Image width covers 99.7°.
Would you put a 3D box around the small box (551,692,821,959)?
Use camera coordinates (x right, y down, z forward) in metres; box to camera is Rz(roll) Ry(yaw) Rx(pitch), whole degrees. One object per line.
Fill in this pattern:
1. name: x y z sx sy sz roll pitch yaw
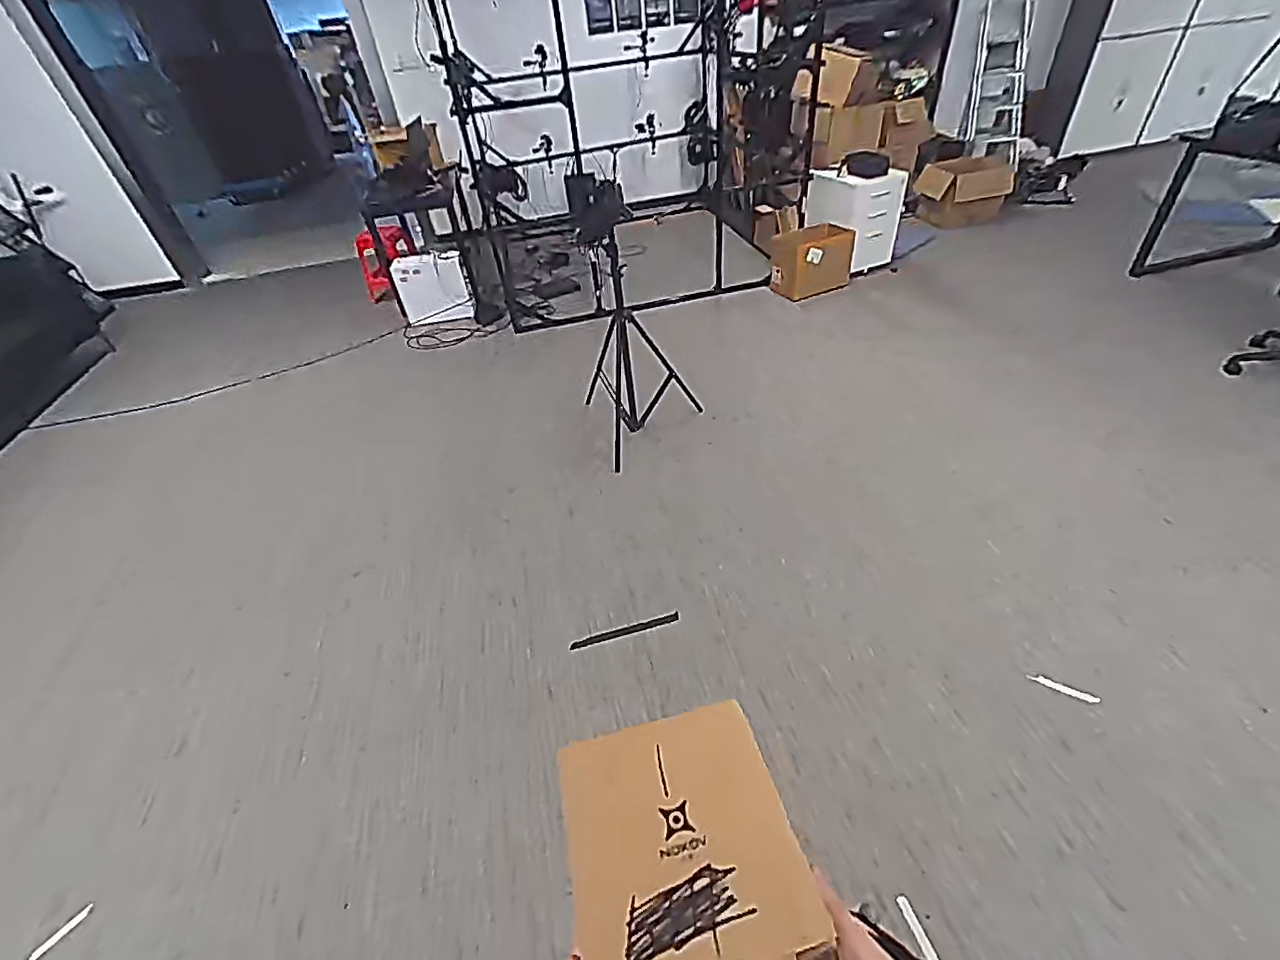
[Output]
1. small box: 0.030 0.319 0.457 0.168 0.176 0.179 -13 40 -8
